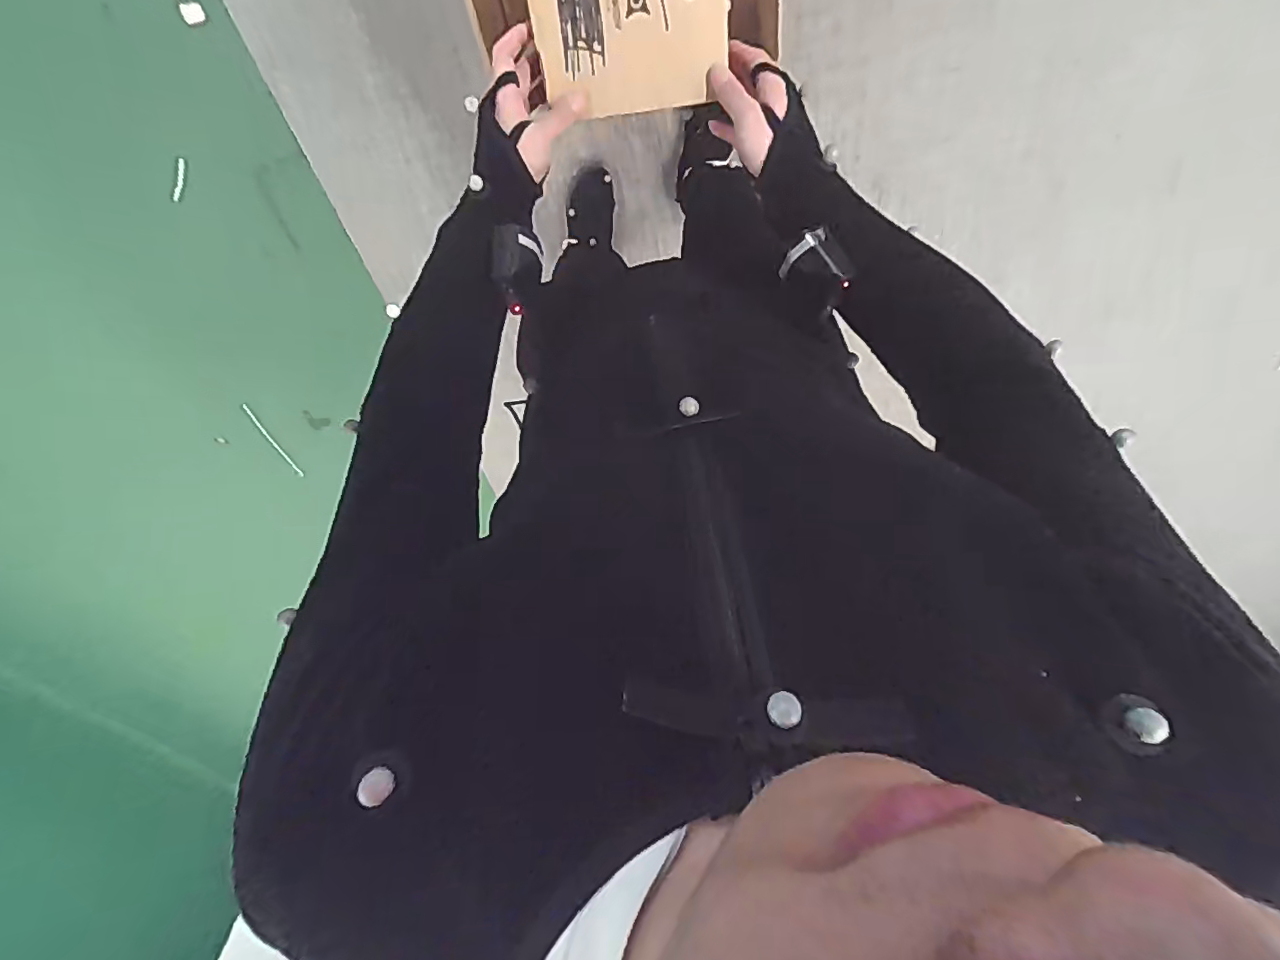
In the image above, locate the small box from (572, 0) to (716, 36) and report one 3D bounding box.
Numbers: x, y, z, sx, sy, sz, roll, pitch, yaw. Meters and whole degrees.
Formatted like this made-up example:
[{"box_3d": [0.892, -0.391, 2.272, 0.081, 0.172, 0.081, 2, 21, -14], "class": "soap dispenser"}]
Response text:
[{"box_3d": [-0.006, -0.681, 0.676, 0.179, 0.176, 0.168, -8, 130, 7], "class": "small box"}]
